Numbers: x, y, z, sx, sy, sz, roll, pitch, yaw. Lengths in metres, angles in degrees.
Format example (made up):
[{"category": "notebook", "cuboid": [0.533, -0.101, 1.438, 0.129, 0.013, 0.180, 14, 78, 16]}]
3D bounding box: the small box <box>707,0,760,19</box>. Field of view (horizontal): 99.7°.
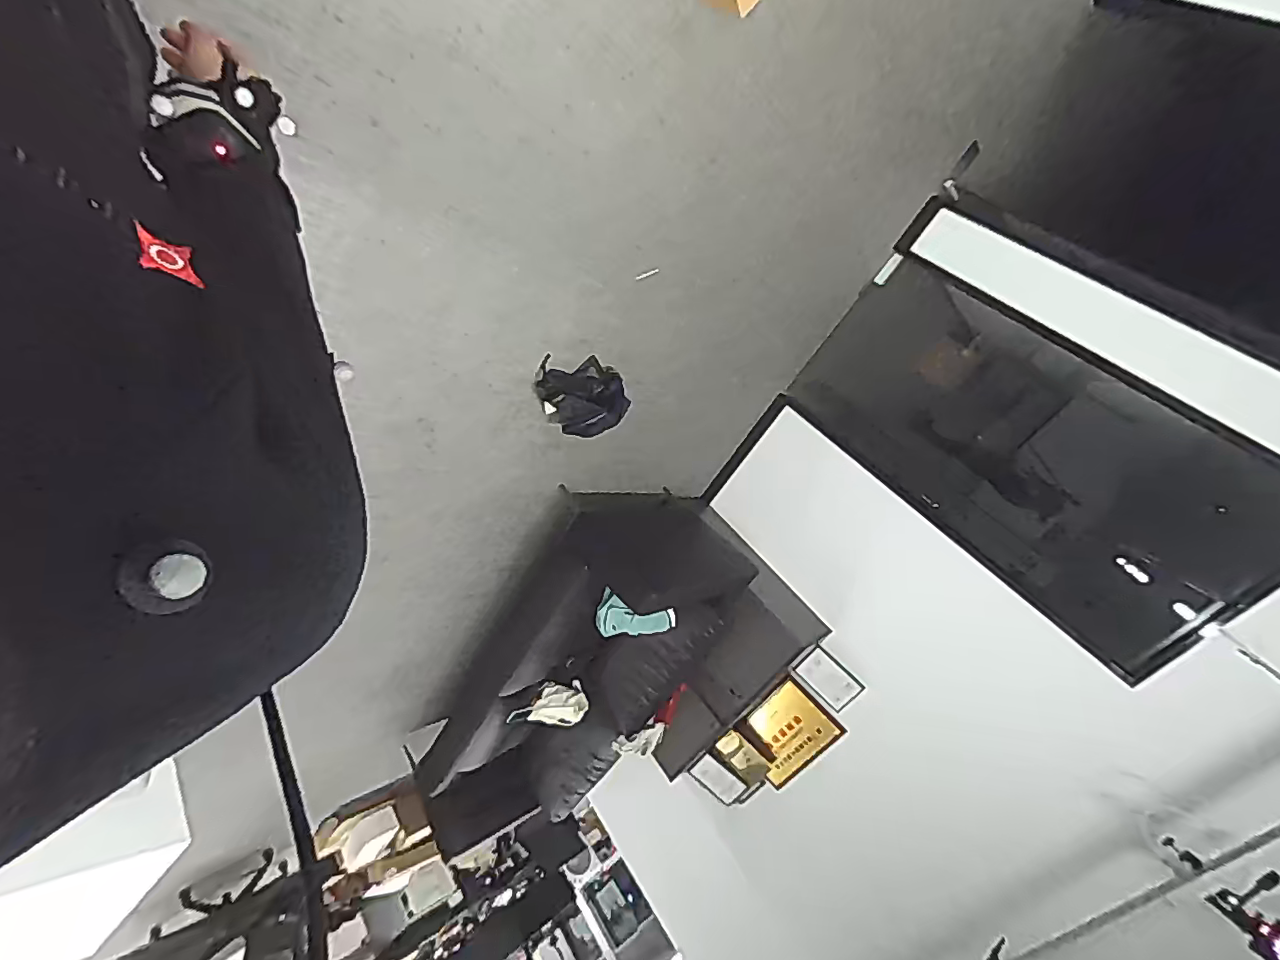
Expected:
[{"category": "small box", "cuboid": [0.218, -1.214, 1.222, 0.168, 0.176, 0.179, -45, 151, 7]}]
